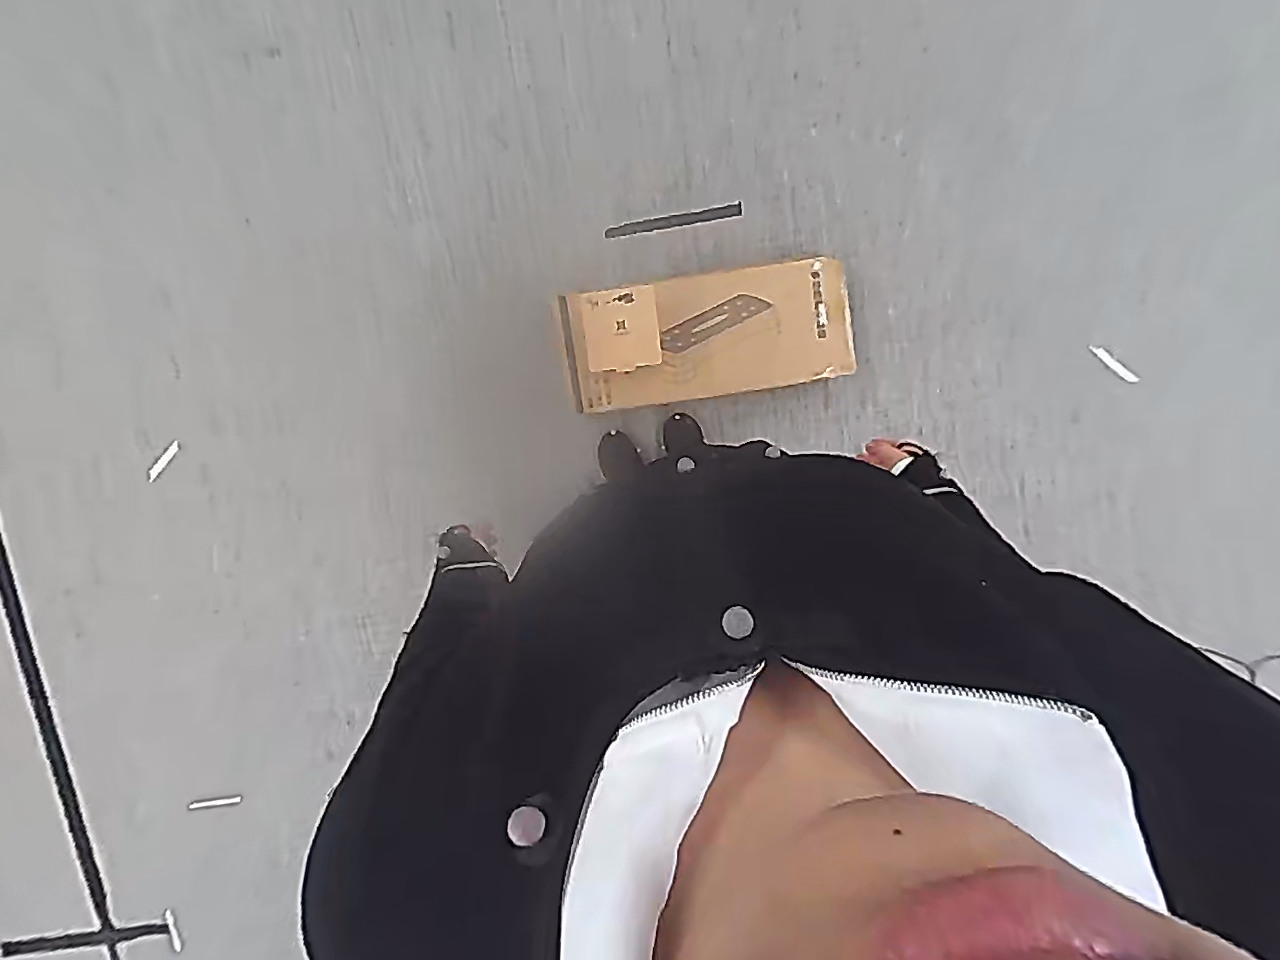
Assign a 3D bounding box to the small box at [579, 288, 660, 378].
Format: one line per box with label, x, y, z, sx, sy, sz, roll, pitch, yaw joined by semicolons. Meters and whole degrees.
small box;-0.044;-0.337;1.272;0.168;0.176;0.179;-7;97;0
